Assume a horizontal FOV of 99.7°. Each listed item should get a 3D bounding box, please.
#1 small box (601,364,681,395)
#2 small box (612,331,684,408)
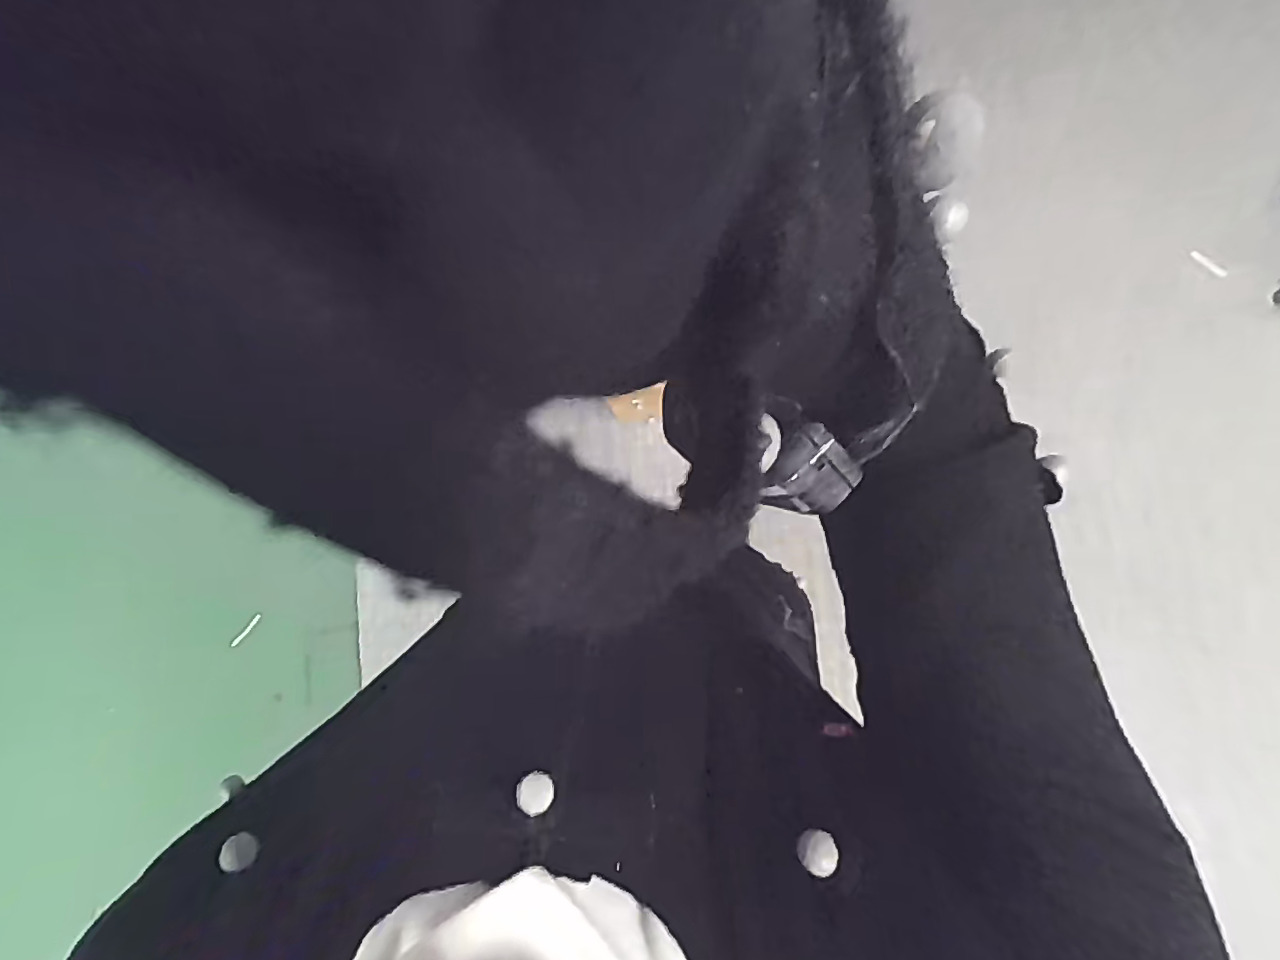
[{"bbox_3d":[0.003,-0.302,1.237,0.168,0.176,0.179,-4,87,8],"label":"small box"},{"bbox_3d":[0.024,-0.286,1.397,0.179,0.176,0.168,-3,86,6],"label":"small box"}]
